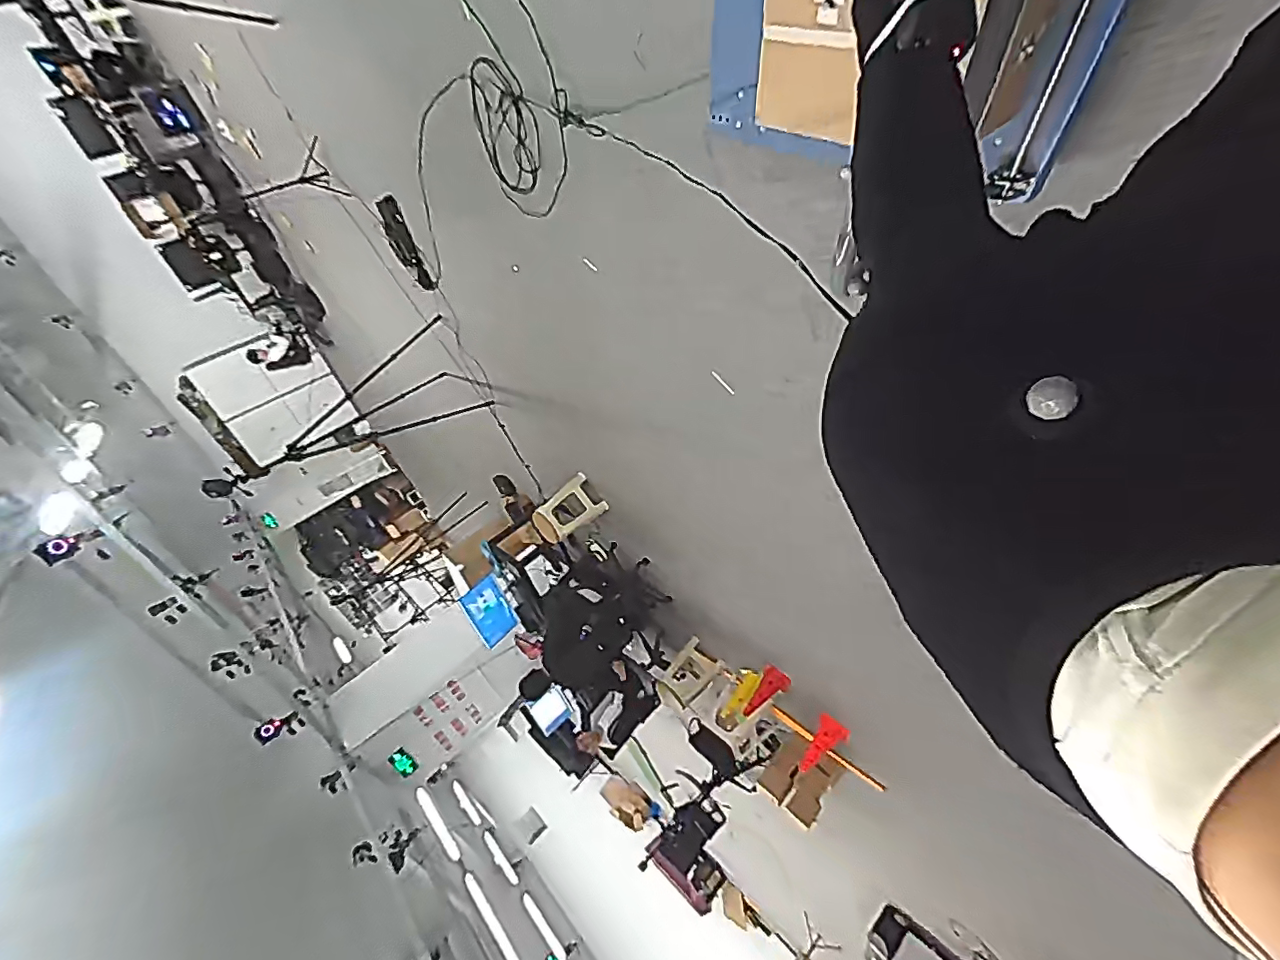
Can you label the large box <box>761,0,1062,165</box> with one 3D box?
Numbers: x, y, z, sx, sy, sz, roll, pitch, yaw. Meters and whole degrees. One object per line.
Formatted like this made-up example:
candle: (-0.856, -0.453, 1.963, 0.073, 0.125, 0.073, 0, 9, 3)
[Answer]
large box: (0.491, -0.825, 0.988, 0.408, 0.320, 0.320, 36, 149, 29)
